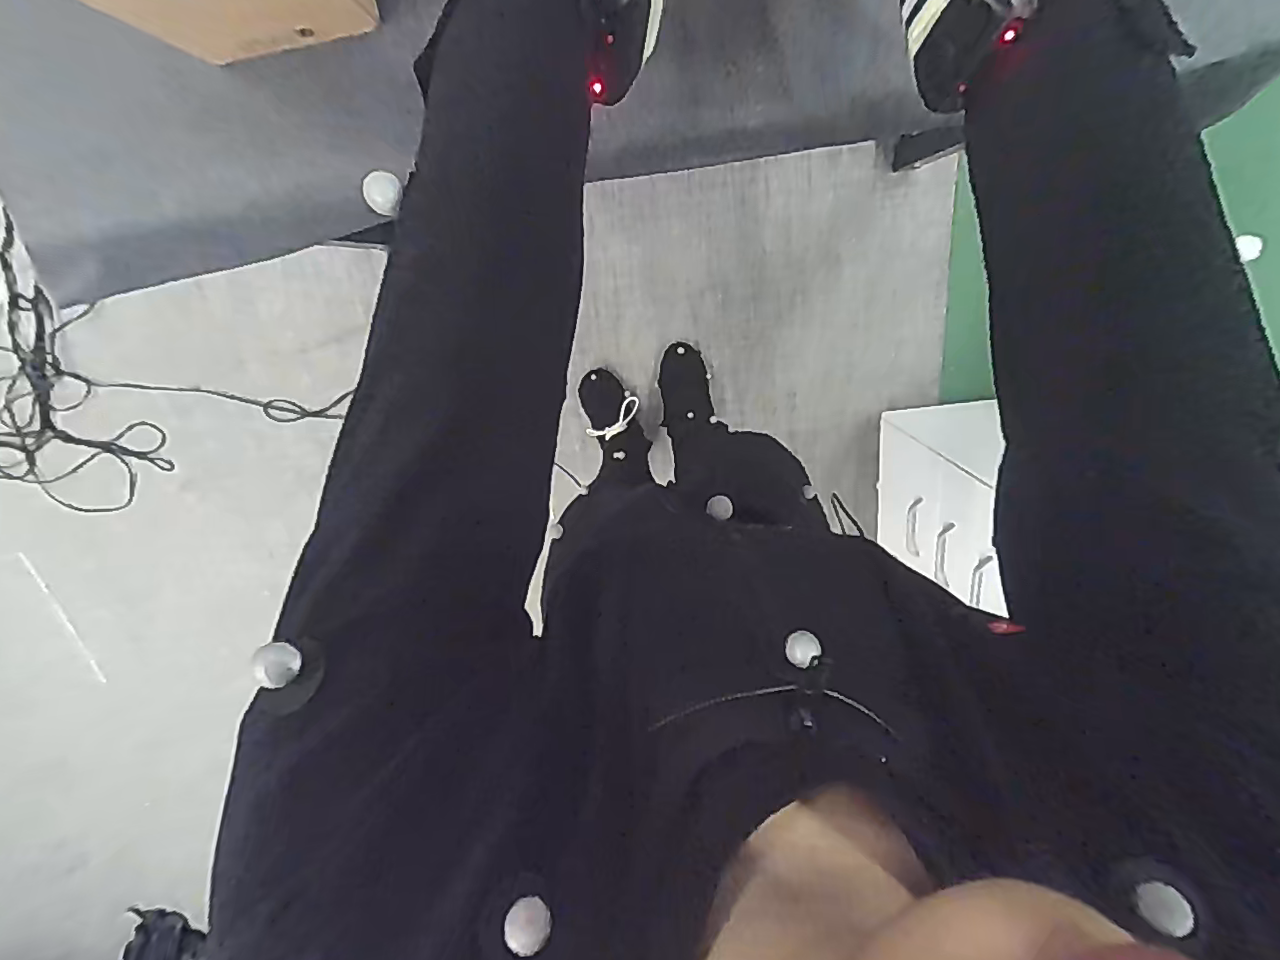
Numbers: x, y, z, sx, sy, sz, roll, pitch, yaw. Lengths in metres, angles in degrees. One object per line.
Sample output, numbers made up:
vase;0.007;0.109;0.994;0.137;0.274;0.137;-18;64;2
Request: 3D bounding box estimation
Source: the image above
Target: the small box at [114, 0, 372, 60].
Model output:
small box;-0.320;-0.434;0.369;0.168;0.176;0.179;-8;110;4
